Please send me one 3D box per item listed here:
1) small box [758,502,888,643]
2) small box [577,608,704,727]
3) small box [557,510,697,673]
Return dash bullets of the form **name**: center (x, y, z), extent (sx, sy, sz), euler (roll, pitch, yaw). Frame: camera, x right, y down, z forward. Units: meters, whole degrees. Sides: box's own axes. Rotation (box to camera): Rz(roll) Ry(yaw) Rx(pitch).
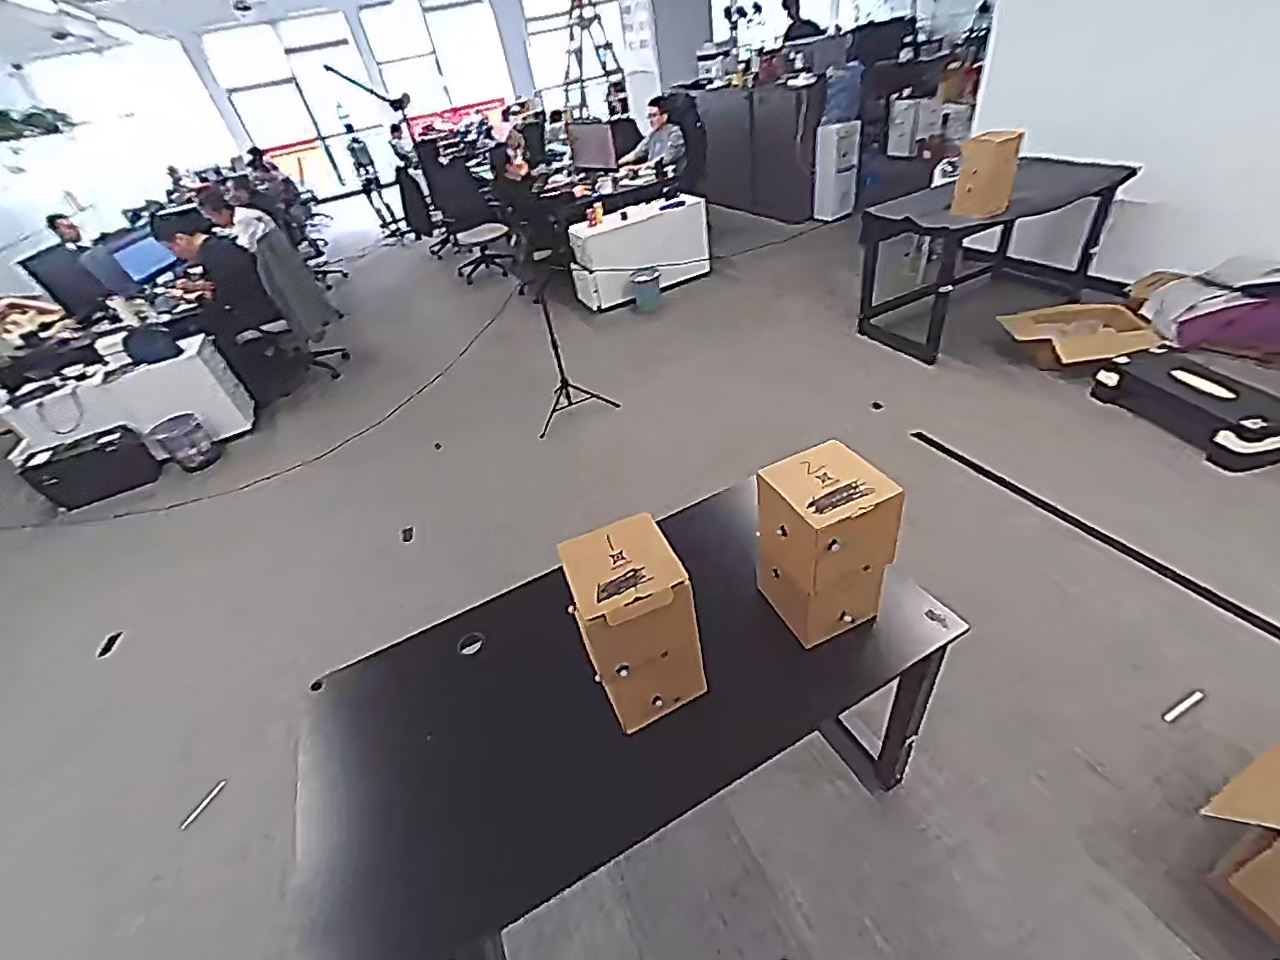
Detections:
- **small box**: center (0.344, 0.178, 1.045), extent (0.168, 0.176, 0.179), euler (-22, 40, -10)
- **small box**: center (0.003, 0.305, 0.982), extent (0.168, 0.176, 0.179), euler (-24, 41, -14)
- **small box**: center (-0.018, 0.185, 0.873), extent (0.168, 0.176, 0.179), euler (-20, 39, -10)
